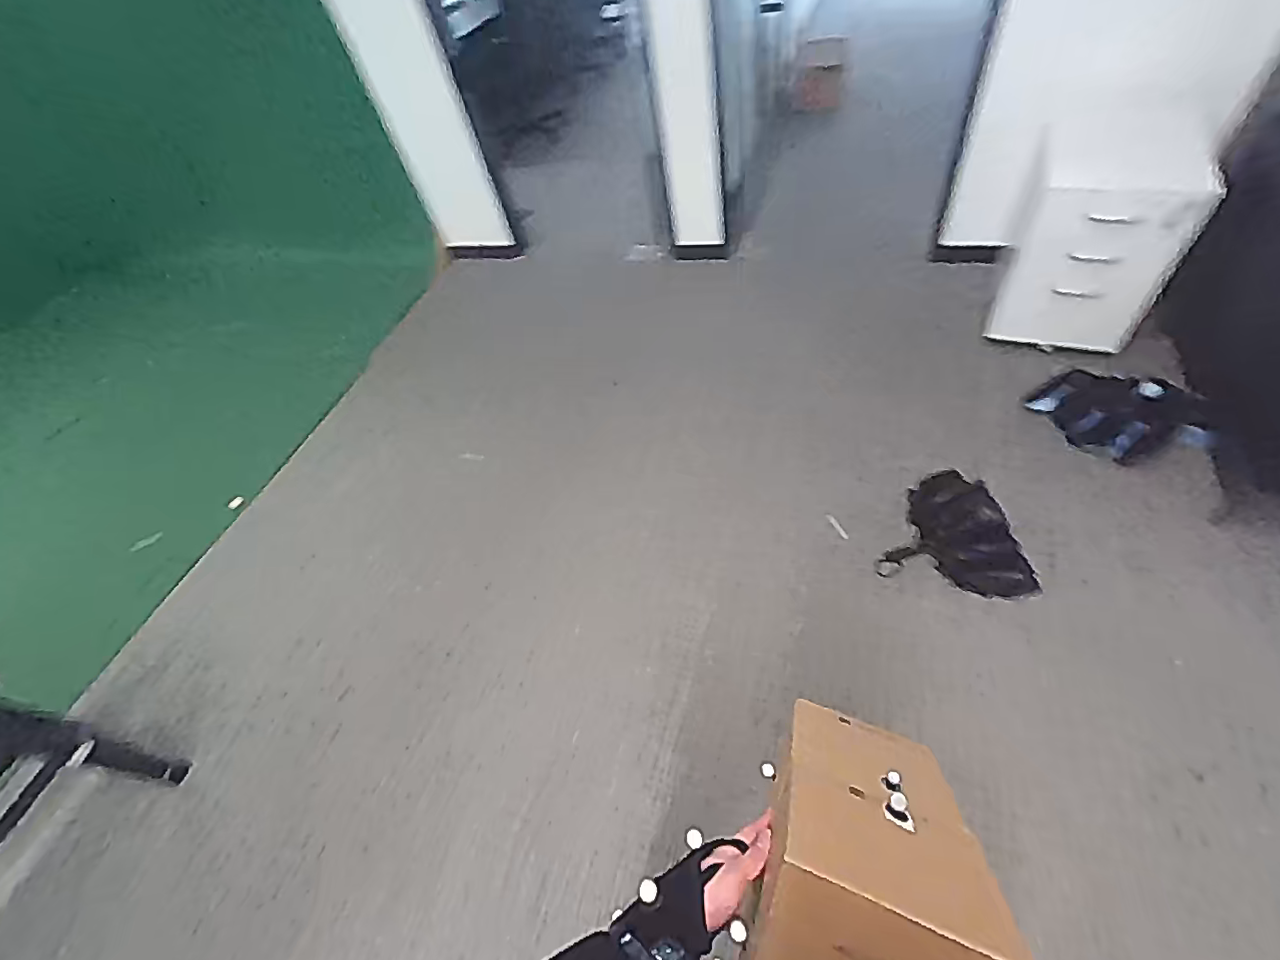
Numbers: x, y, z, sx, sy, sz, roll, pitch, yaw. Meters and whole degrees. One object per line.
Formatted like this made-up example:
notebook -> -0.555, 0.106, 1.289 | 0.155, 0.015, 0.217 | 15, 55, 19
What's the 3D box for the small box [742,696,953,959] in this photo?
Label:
small box -> 0.225, 0.382, 0.615 | 0.168, 0.176, 0.179 | 14, 94, 16
